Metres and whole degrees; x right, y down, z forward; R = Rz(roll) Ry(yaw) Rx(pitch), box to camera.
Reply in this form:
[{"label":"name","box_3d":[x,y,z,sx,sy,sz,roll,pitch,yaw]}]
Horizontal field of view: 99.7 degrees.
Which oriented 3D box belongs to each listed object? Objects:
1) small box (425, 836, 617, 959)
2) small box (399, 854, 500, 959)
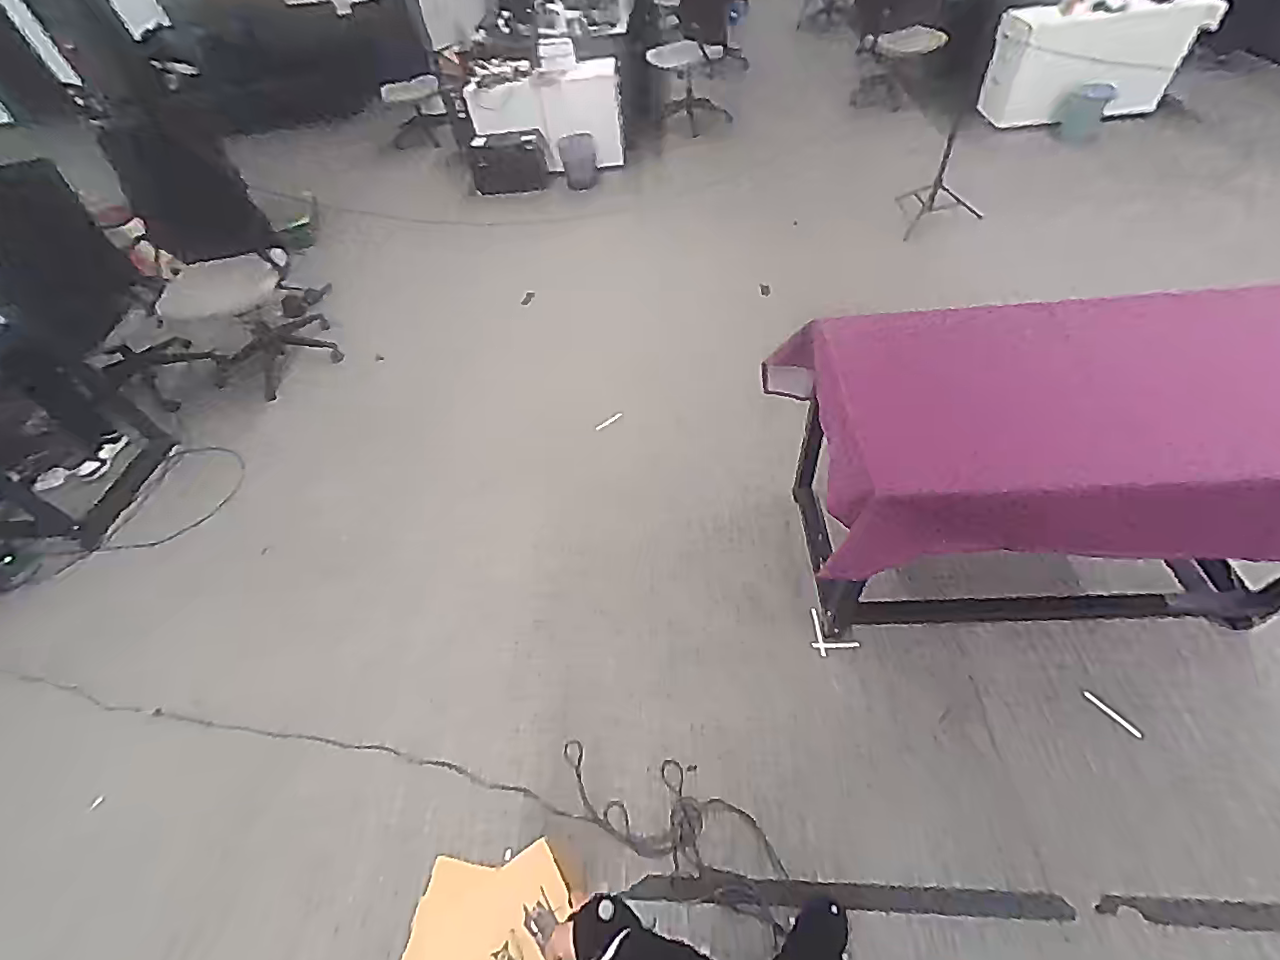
[{"label":"small box","box_3d":[-0.140,0.599,0.689,0.179,0.176,0.168,-29,51,-17]},{"label":"small box","box_3d":[-0.284,0.787,0.957,0.179,0.176,0.168,5,52,12]}]
